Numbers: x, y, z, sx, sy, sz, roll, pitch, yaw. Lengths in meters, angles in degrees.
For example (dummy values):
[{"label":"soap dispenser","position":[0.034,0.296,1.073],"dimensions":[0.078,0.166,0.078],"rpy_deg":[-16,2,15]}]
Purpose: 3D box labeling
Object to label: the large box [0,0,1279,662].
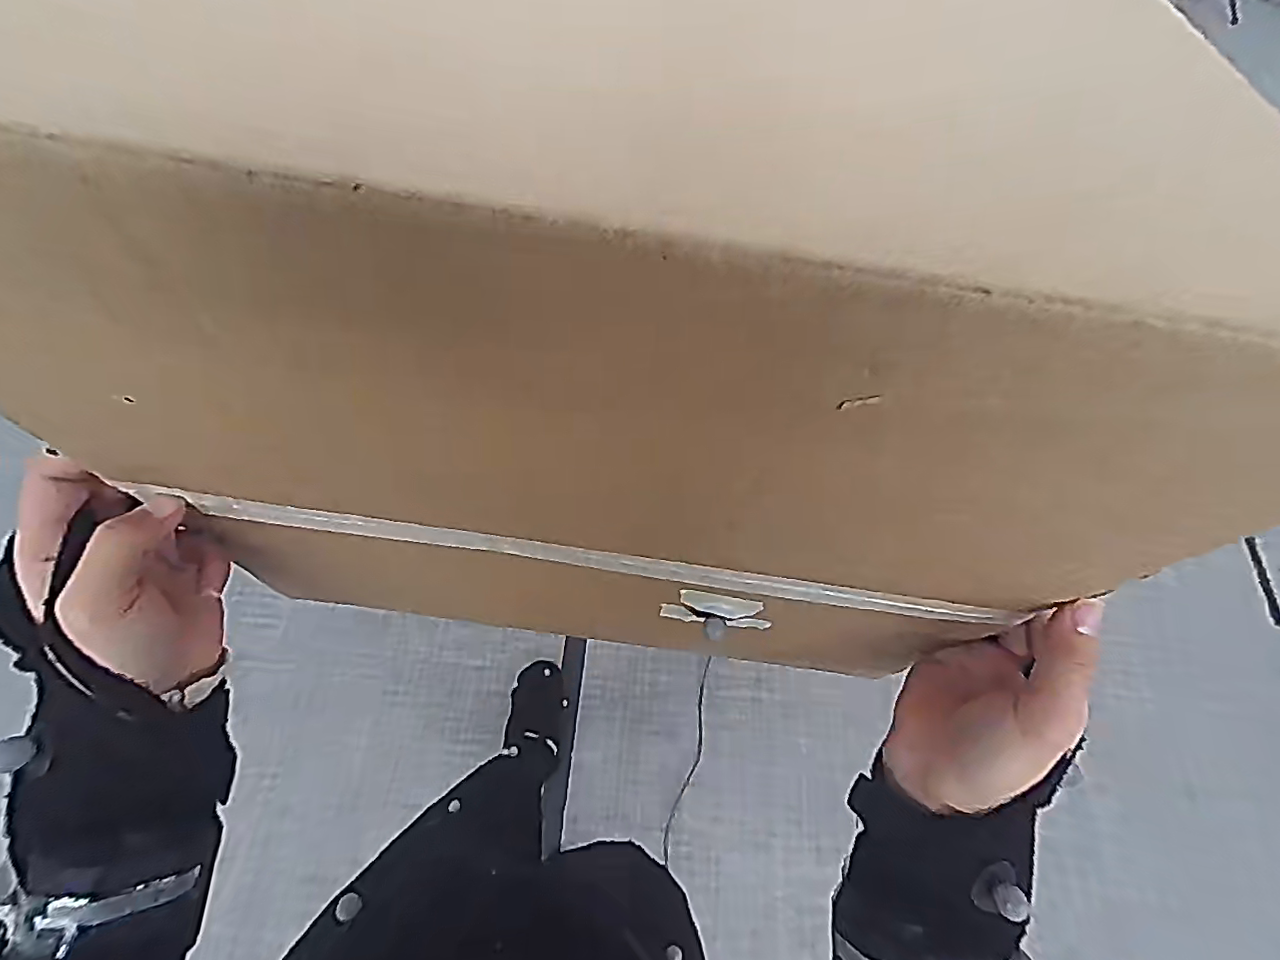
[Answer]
[{"label":"large box","position":[-0.011,-0.102,0.325],"dimensions":[0.408,0.320,0.320],"rpy_deg":[8,60,-2]}]
